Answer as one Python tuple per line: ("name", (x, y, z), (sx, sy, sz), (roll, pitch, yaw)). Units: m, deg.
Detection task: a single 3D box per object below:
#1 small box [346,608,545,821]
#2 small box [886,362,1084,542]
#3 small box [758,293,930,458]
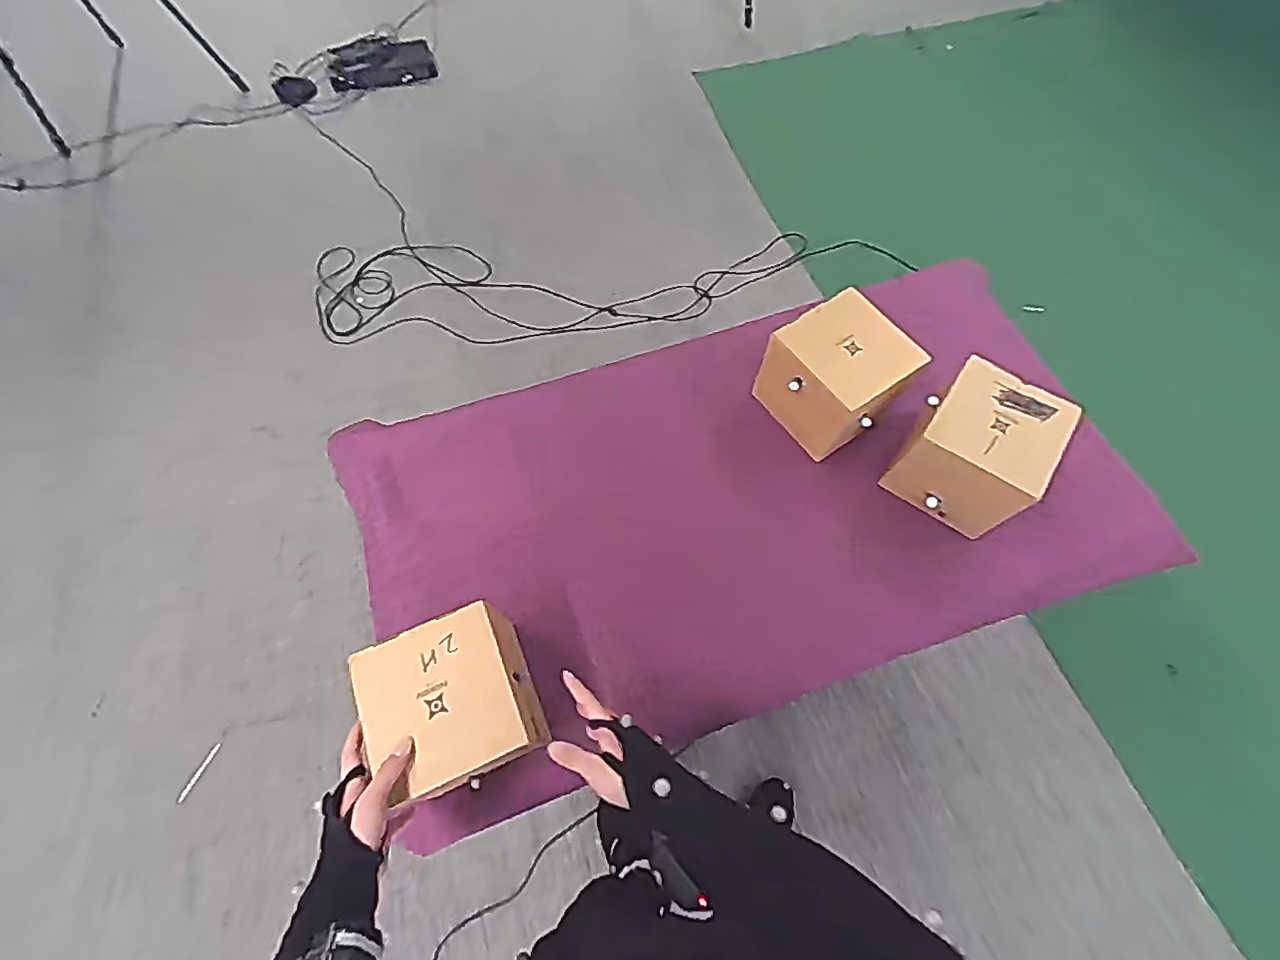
("small box", (-0.229, 0.284, 0.672), (0.168, 0.176, 0.179), (-22, 67, -10))
("small box", (0.507, -0.036, 0.820), (0.168, 0.176, 0.179), (34, 71, 16))
("small box", (0.318, -0.158, 0.881), (0.168, 0.176, 0.179), (-32, 68, -13))
